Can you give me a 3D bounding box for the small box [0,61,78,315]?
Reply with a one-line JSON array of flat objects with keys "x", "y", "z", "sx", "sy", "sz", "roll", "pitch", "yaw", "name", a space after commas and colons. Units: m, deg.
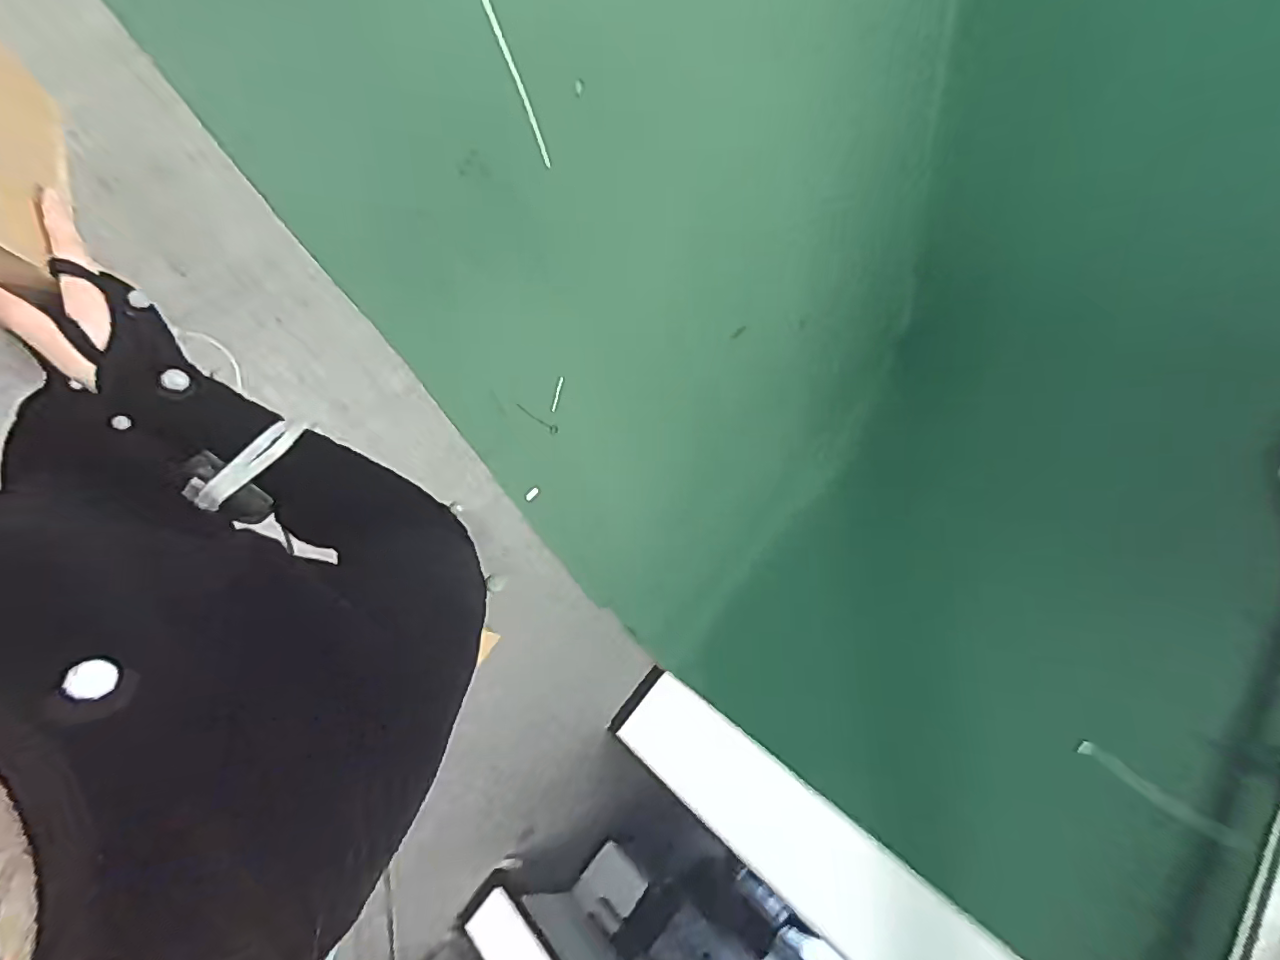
[{"x": -0.492, "y": -0.202, "z": 0.307, "sx": 0.168, "sy": 0.176, "sz": 0.179, "roll": -17, "pitch": 170, "yaw": -4, "name": "small box"}]
